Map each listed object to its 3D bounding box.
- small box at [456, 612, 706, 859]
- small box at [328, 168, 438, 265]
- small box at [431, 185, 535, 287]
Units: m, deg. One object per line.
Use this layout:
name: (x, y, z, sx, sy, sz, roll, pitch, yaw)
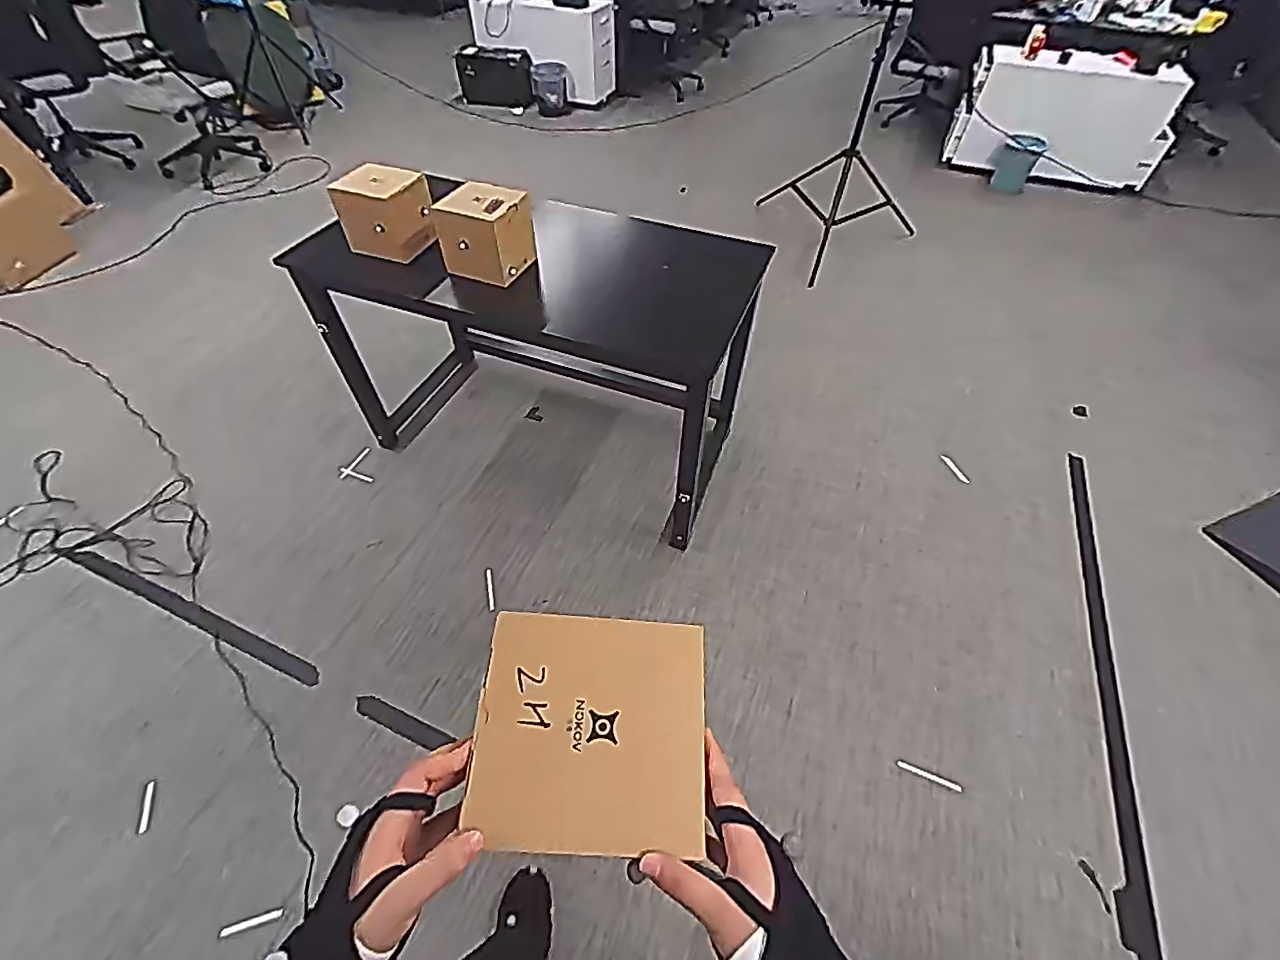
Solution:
small box: (-0.043, 0.228, 0.484, 0.179, 0.176, 0.168, 4, 59, -2)
small box: (-0.662, -0.687, 1.419, 0.179, 0.176, 0.168, 15, 51, 12)
small box: (-0.384, -0.608, 1.358, 0.179, 0.176, 0.168, 18, 52, 14)
